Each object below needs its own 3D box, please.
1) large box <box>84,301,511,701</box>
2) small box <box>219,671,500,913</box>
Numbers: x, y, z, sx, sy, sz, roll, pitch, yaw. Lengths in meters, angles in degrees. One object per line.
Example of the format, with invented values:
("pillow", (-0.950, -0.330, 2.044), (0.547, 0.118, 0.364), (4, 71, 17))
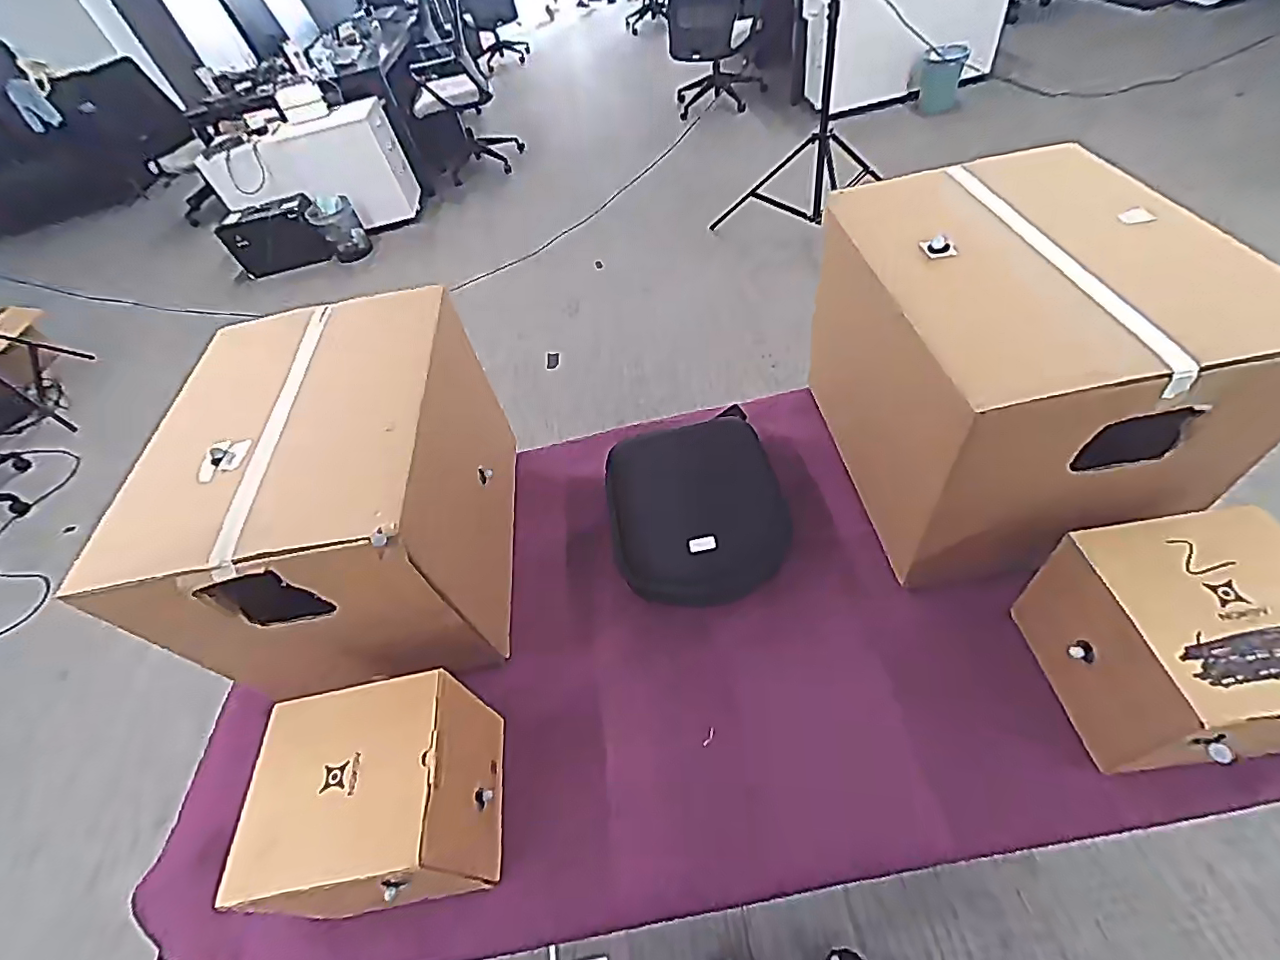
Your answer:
("large box", (-0.367, 0.028, 0.724), (0.320, 0.320, 0.408), (-12, 52, 2))
("small box", (-0.260, 0.322, 0.553), (0.179, 0.176, 0.168), (-13, 49, 1))
